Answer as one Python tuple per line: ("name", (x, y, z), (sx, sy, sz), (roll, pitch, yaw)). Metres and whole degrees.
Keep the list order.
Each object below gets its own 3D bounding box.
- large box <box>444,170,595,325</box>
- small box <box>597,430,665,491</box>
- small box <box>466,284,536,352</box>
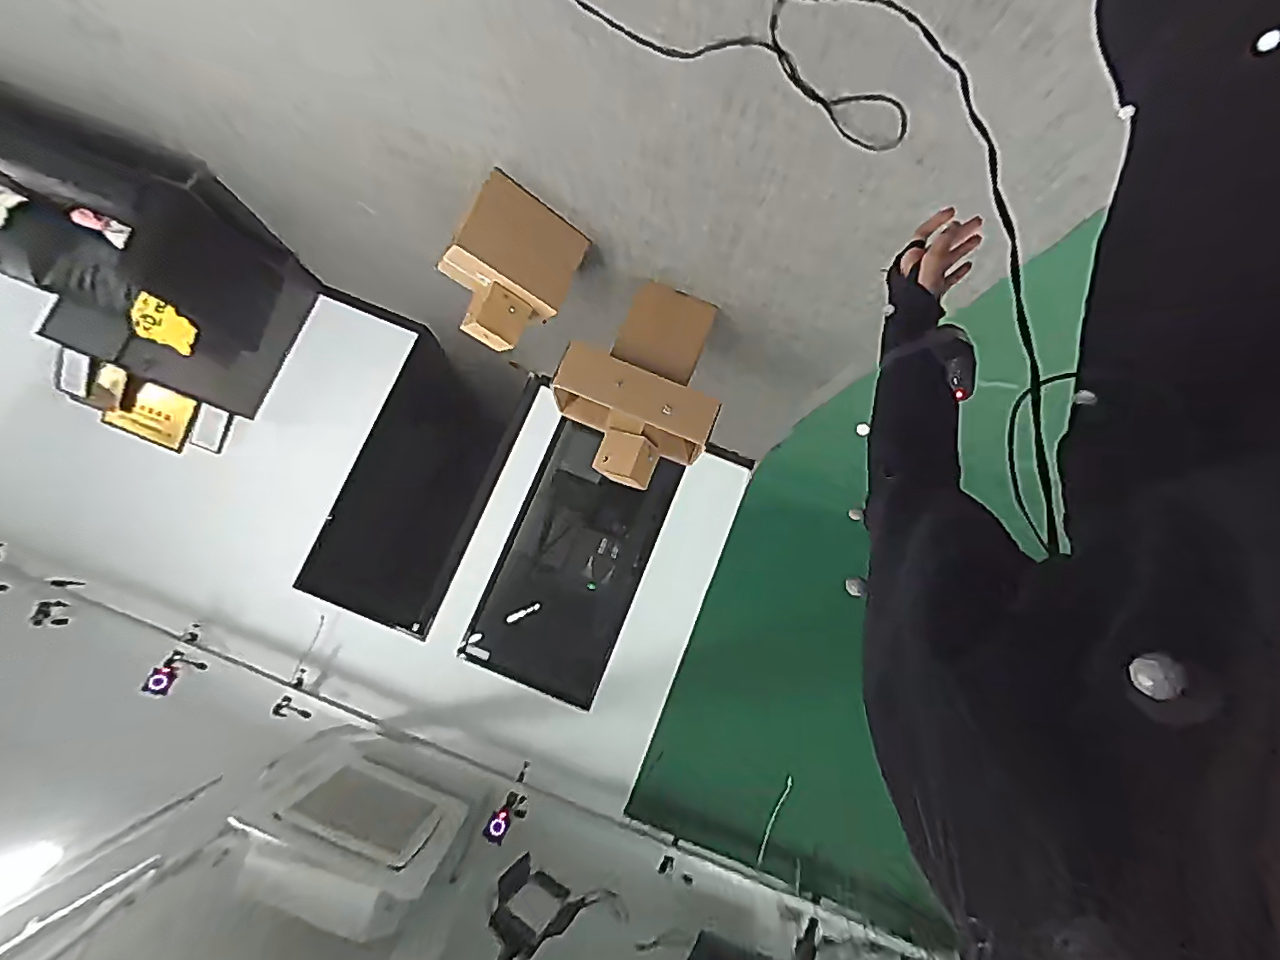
("large box", (-0.444, -0.834, 2.001), (0.408, 0.320, 0.320), (29, 169, -29))
("small box", (-0.030, -0.080, 2.097), (0.179, 0.176, 0.168), (16, 170, 29))
("small box", (-0.508, -0.595, 1.992), (0.168, 0.176, 0.179), (29, 170, -33))
